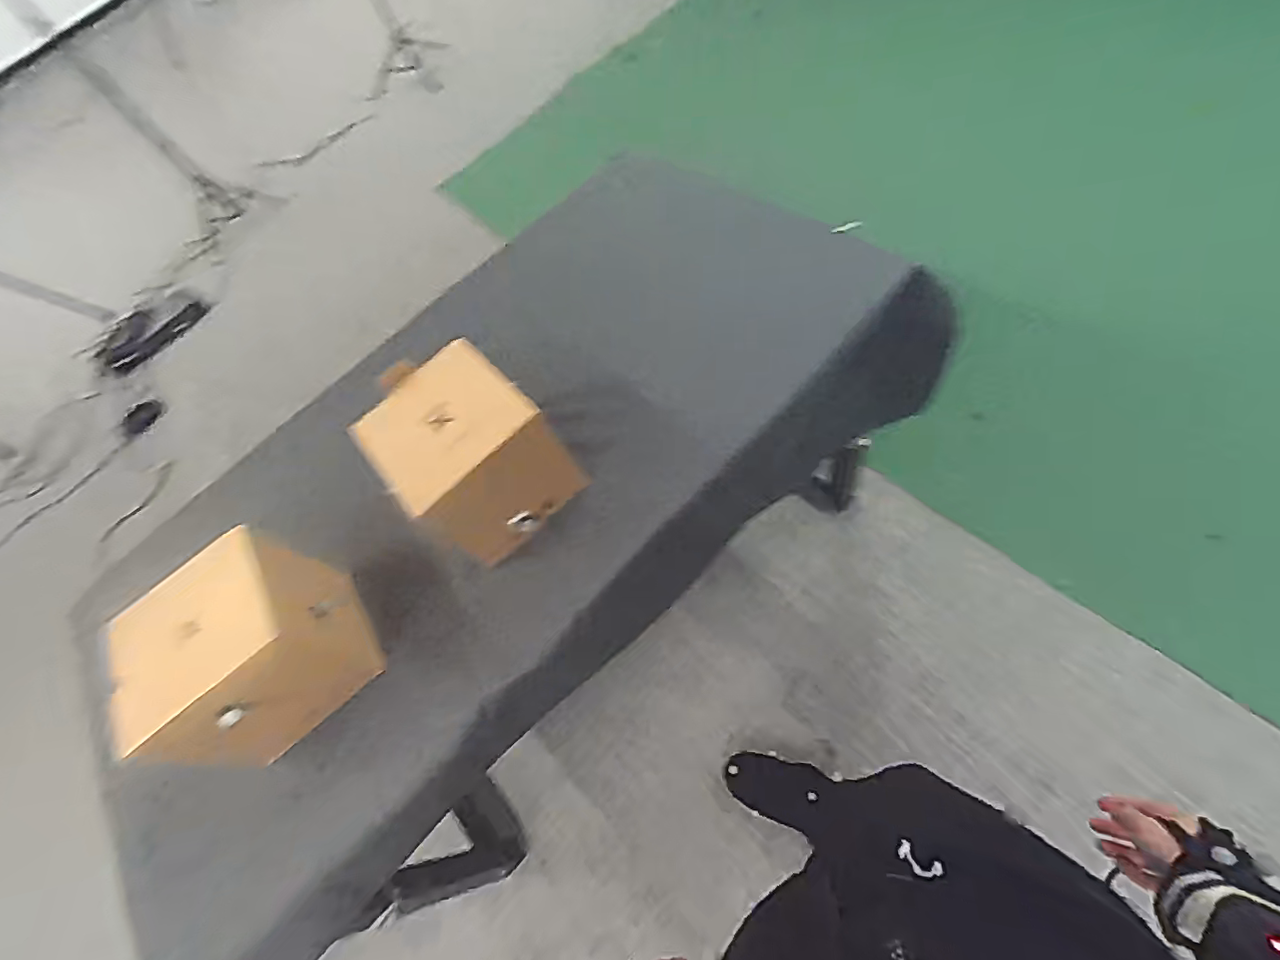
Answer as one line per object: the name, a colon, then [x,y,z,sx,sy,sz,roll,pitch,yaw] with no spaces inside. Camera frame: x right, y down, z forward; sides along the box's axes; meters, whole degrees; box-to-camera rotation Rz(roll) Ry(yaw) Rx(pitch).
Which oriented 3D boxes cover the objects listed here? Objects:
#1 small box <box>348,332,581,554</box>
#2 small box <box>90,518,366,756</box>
small box: [-0.203,-0.037,0.658,0.168,0.176,0.179,-44,61,-9]
small box: [-0.442,0.180,0.606,0.179,0.176,0.168,-39,60,-7]
